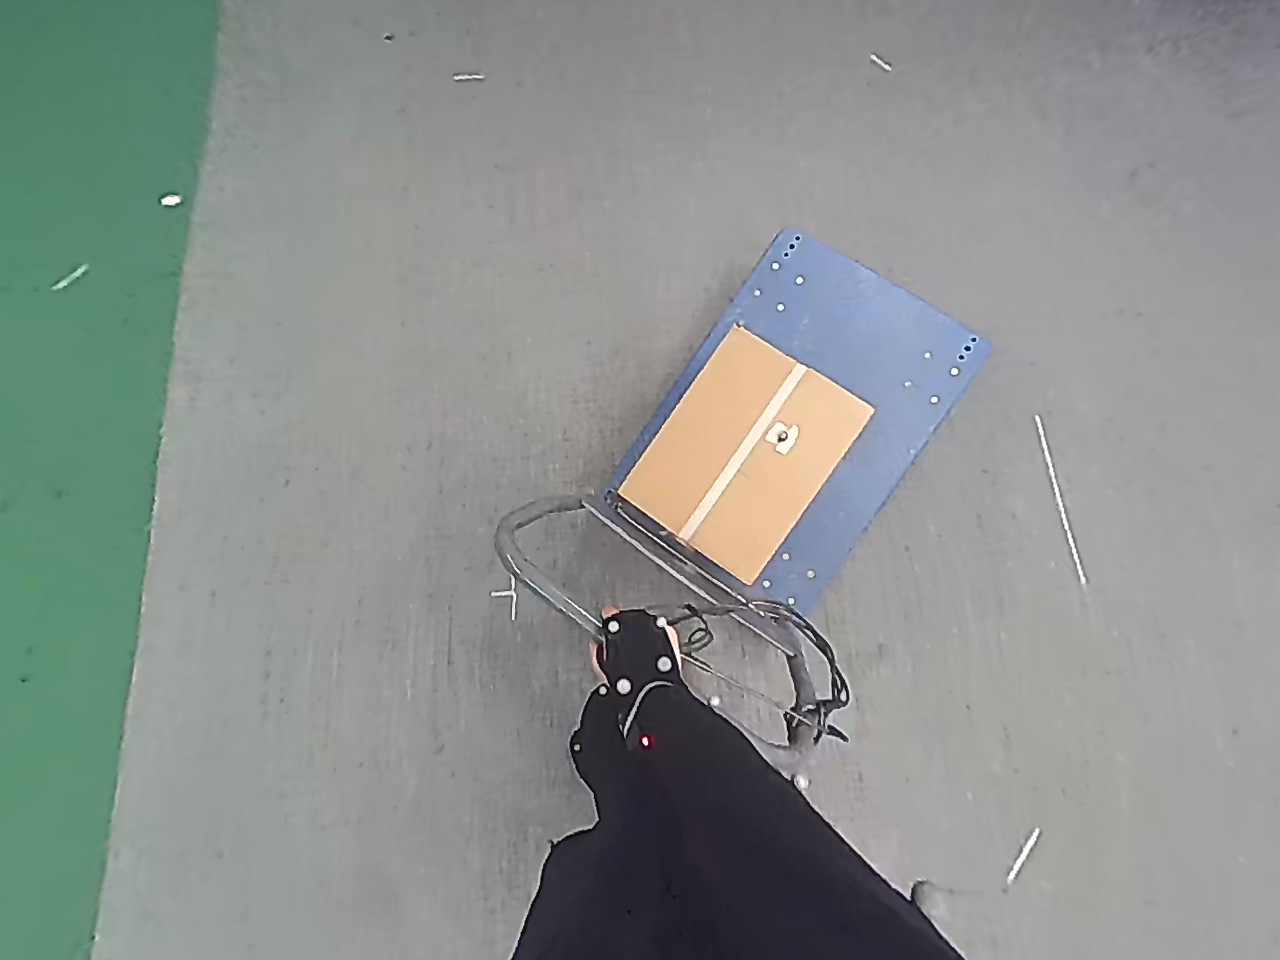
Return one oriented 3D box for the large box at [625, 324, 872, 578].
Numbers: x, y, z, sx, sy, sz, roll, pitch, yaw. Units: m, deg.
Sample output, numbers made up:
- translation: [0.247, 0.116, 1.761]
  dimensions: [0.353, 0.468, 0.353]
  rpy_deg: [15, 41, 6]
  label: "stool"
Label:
- translation: [0.224, -0.045, 1.178]
  dimensions: [0.320, 0.320, 0.408]
  rpy_deg: [36, 91, 10]
  label: "large box"
